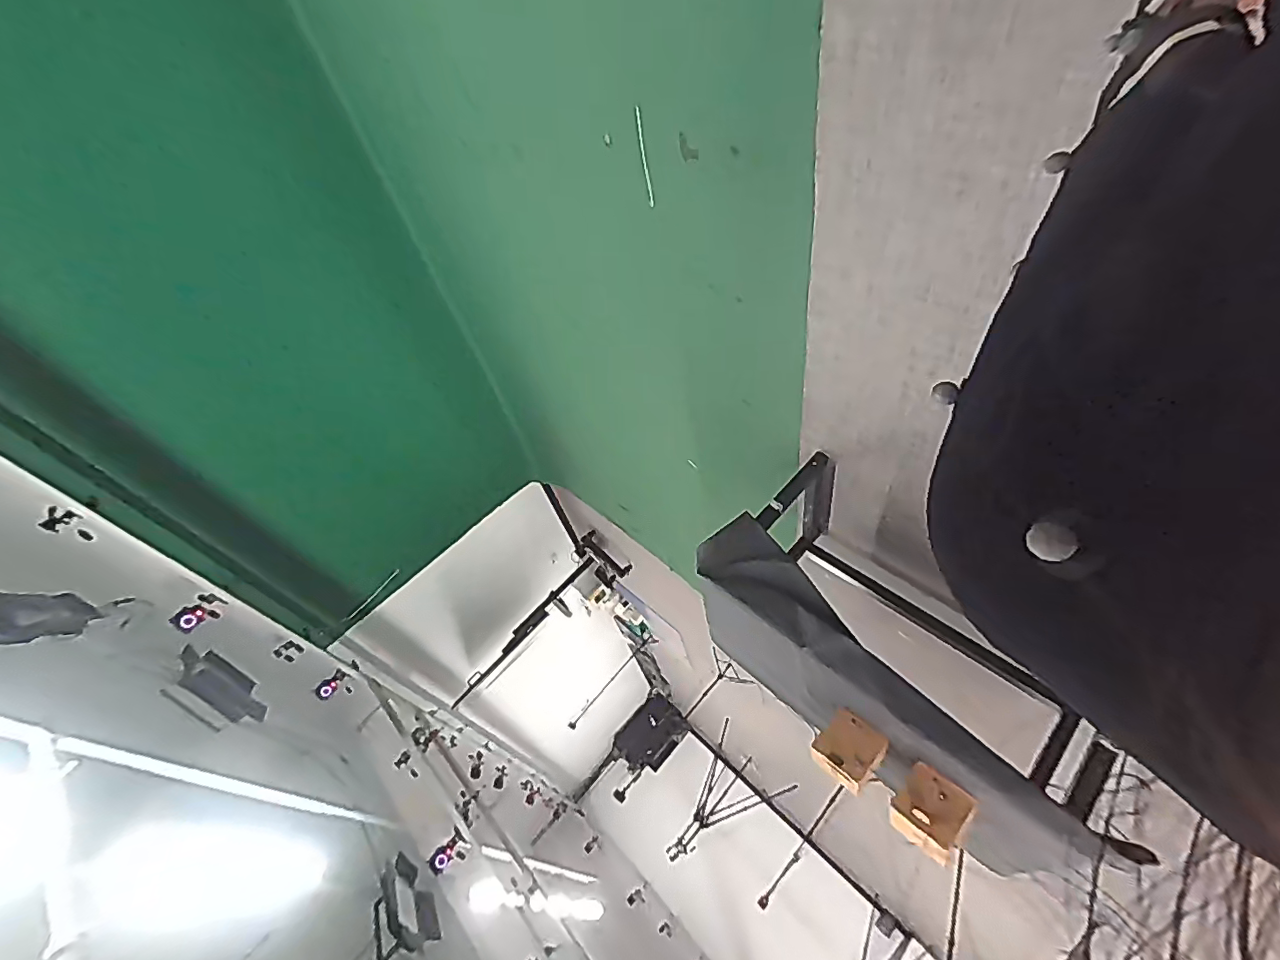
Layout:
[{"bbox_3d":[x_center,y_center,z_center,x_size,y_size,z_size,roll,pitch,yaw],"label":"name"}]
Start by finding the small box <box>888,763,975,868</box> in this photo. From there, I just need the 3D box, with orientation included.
[{"bbox_3d":[0.839,0.963,1.561,0.168,0.176,0.179,27,151,44],"label":"small box"}]
